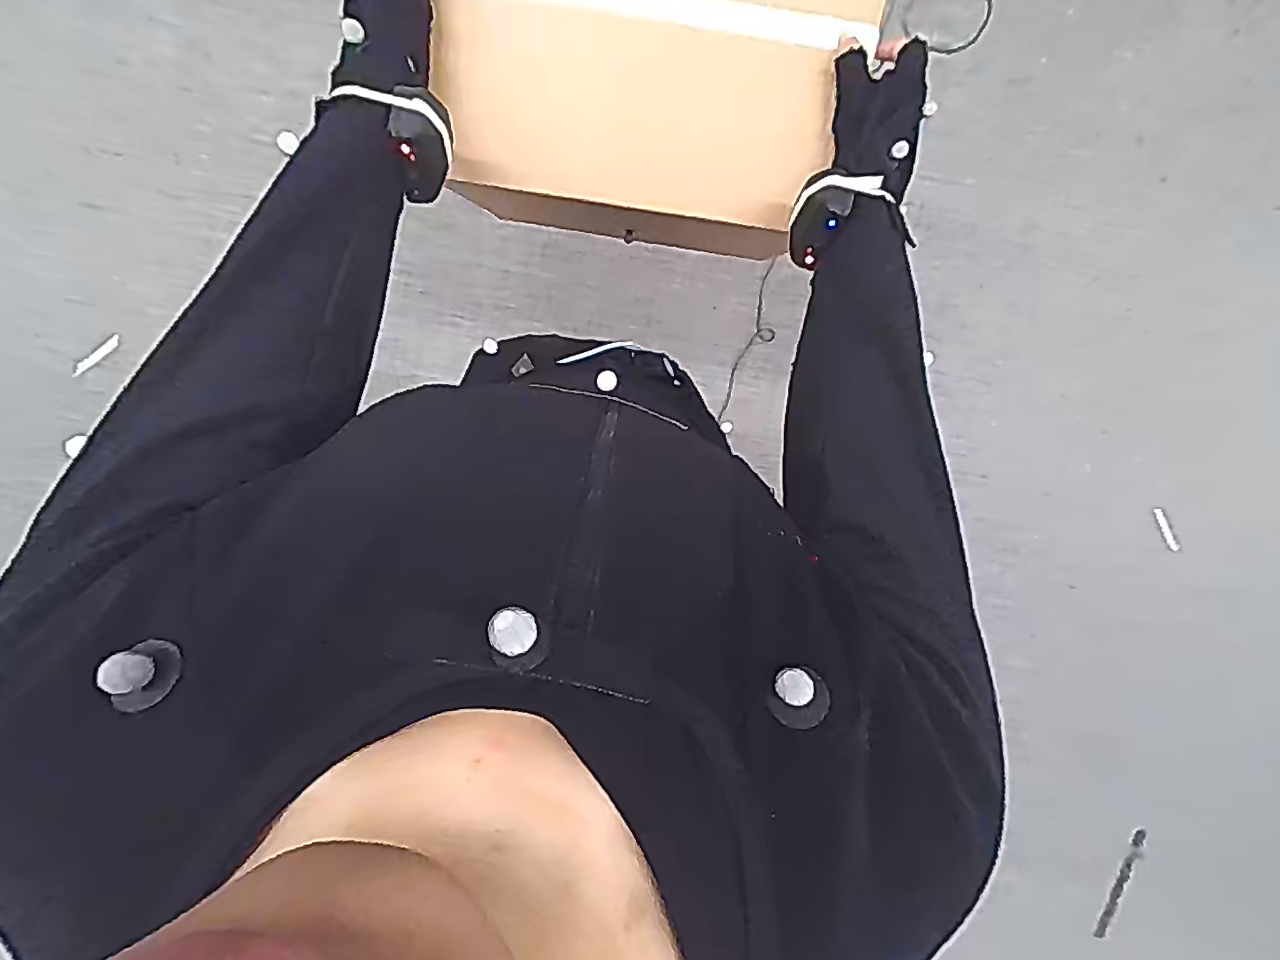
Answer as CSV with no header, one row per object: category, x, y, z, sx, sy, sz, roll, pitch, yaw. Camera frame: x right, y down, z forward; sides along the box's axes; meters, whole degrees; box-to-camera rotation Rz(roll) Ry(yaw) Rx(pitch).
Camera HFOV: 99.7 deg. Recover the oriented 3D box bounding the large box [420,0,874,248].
large box,0.010,-0.464,0.619,0.408,0.320,0.320,8,108,-2
